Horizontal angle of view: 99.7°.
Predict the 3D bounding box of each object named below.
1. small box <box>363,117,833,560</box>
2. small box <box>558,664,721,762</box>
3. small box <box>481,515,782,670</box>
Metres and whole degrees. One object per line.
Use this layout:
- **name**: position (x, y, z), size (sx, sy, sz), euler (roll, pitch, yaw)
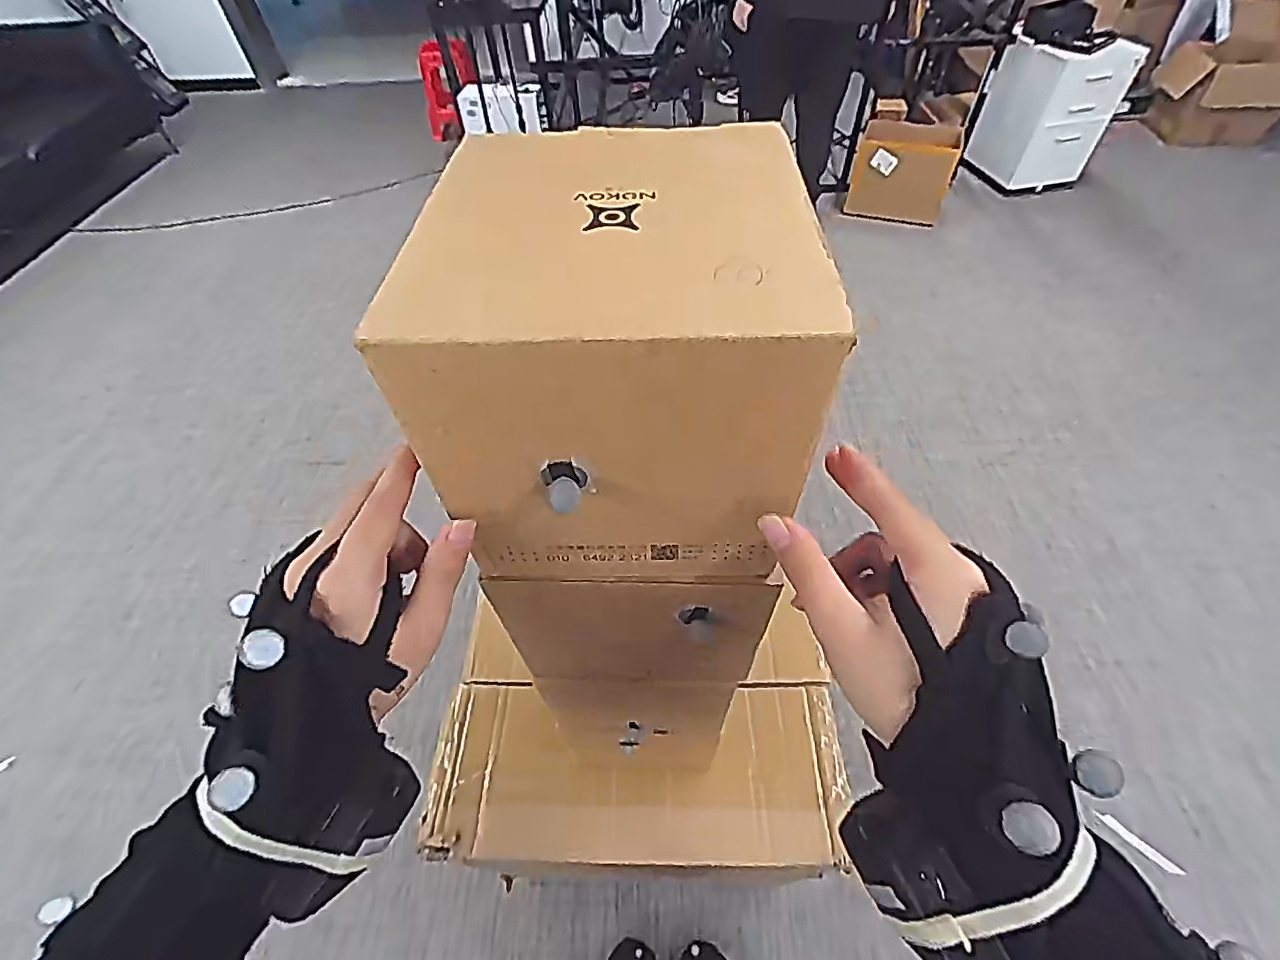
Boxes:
- **small box**: position (-0.010, -0.067, 0.295), size (0.168, 0.176, 0.179), euler (-1, 51, 2)
- **small box**: position (0.006, 0.244, 0.675), size (0.179, 0.176, 0.168), euler (1, 52, 3)
- **small box**: position (0.000, 0.037, 0.419), size (0.179, 0.176, 0.168), euler (0, 52, 3)
